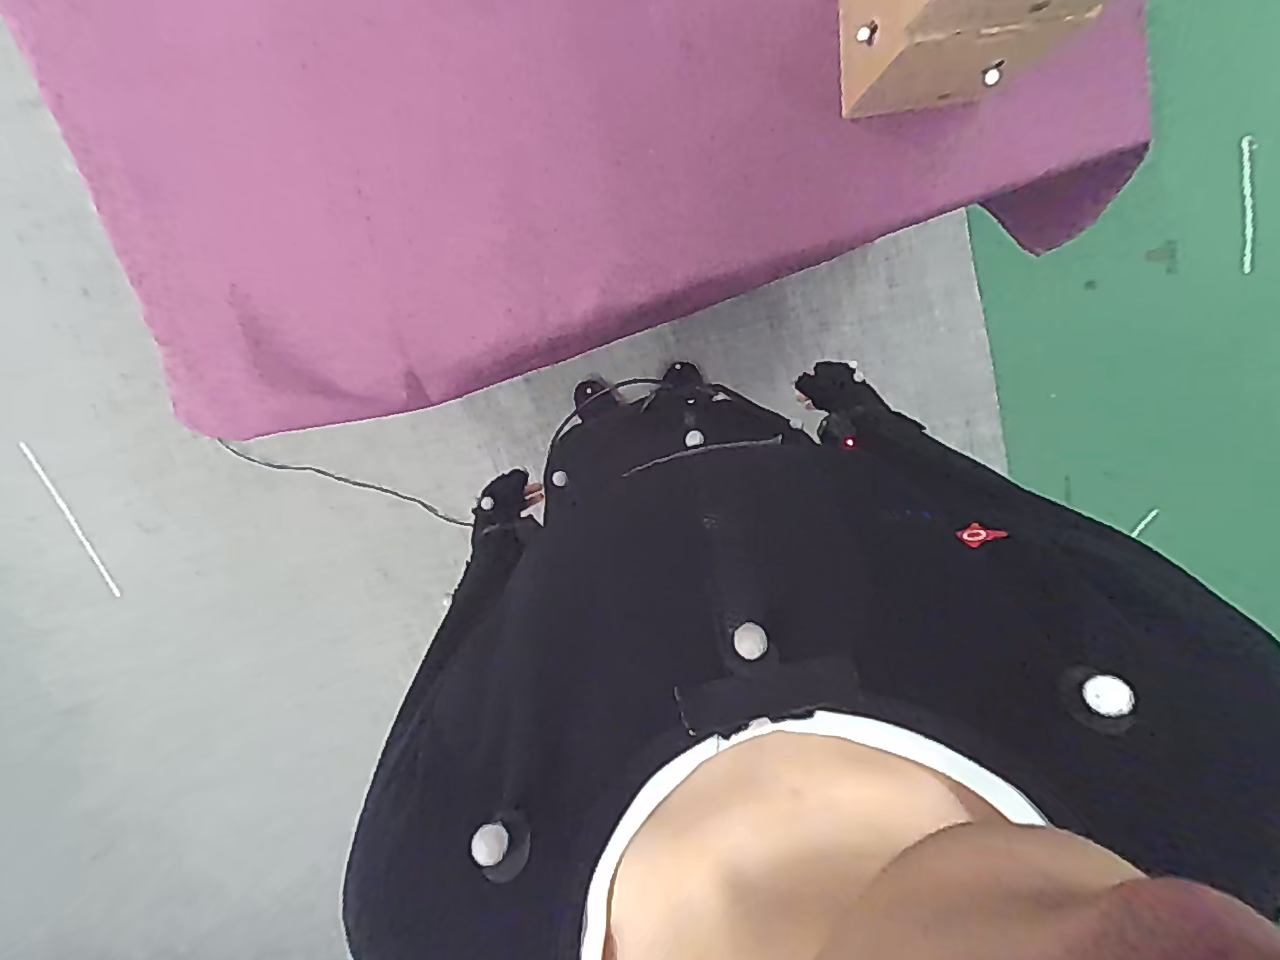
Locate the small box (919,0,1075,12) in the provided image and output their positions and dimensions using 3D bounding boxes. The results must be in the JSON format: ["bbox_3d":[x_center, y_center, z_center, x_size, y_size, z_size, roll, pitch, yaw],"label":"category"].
[{"bbox_3d":[0.295,-0.457,0.361,0.168,0.176,0.179,-7,105,0],"label":"small box"}]

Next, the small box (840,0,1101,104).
[{"bbox_3d":[0.304,-0.494,0.521,0.168,0.176,0.179,-7,104,2],"label":"small box"}]
